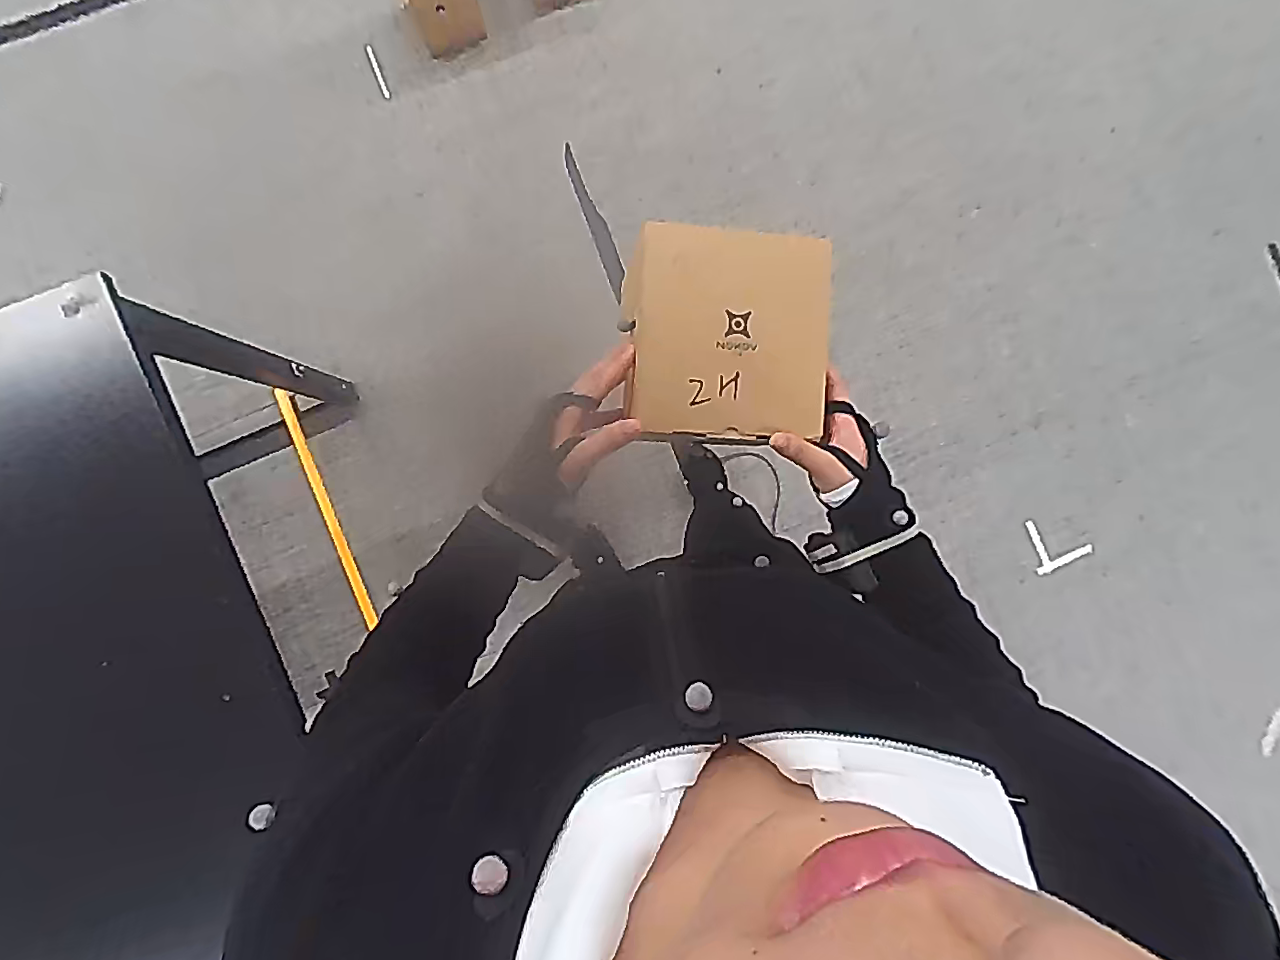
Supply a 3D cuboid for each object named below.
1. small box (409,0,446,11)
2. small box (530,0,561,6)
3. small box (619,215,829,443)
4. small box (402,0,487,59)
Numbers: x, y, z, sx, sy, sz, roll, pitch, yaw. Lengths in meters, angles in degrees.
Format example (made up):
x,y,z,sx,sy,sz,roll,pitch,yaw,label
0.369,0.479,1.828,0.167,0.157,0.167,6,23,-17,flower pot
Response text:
x,y,z,sx,sy,sz,roll,pitch,yaw,label
-0.518,-1.264,1.256,0.168,0.176,0.179,-26,91,-1,small box
-0.247,-1.415,1.433,0.168,0.176,0.179,-22,90,-2,small box
0.070,-0.132,0.538,0.168,0.176,0.179,2,92,-8,small box
-0.529,-1.263,1.419,0.179,0.176,0.168,-24,90,-3,small box
